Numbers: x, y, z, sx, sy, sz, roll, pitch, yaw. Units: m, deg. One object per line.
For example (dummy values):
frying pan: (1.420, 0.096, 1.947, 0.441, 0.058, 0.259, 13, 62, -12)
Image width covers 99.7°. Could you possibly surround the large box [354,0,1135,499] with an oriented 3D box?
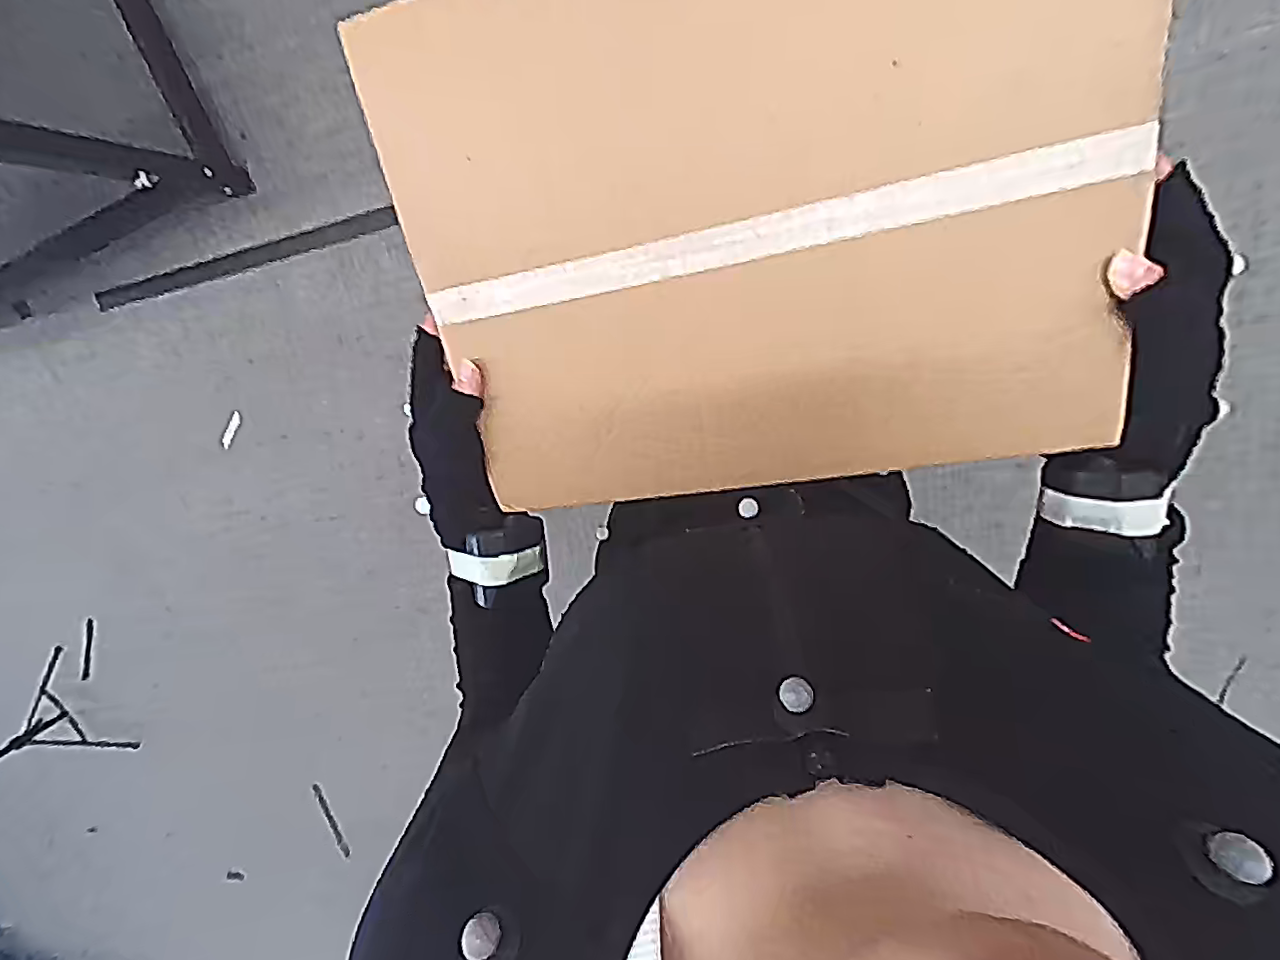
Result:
large box: (0.080, -0.210, 0.455, 0.408, 0.320, 0.320, -7, 112, 14)
